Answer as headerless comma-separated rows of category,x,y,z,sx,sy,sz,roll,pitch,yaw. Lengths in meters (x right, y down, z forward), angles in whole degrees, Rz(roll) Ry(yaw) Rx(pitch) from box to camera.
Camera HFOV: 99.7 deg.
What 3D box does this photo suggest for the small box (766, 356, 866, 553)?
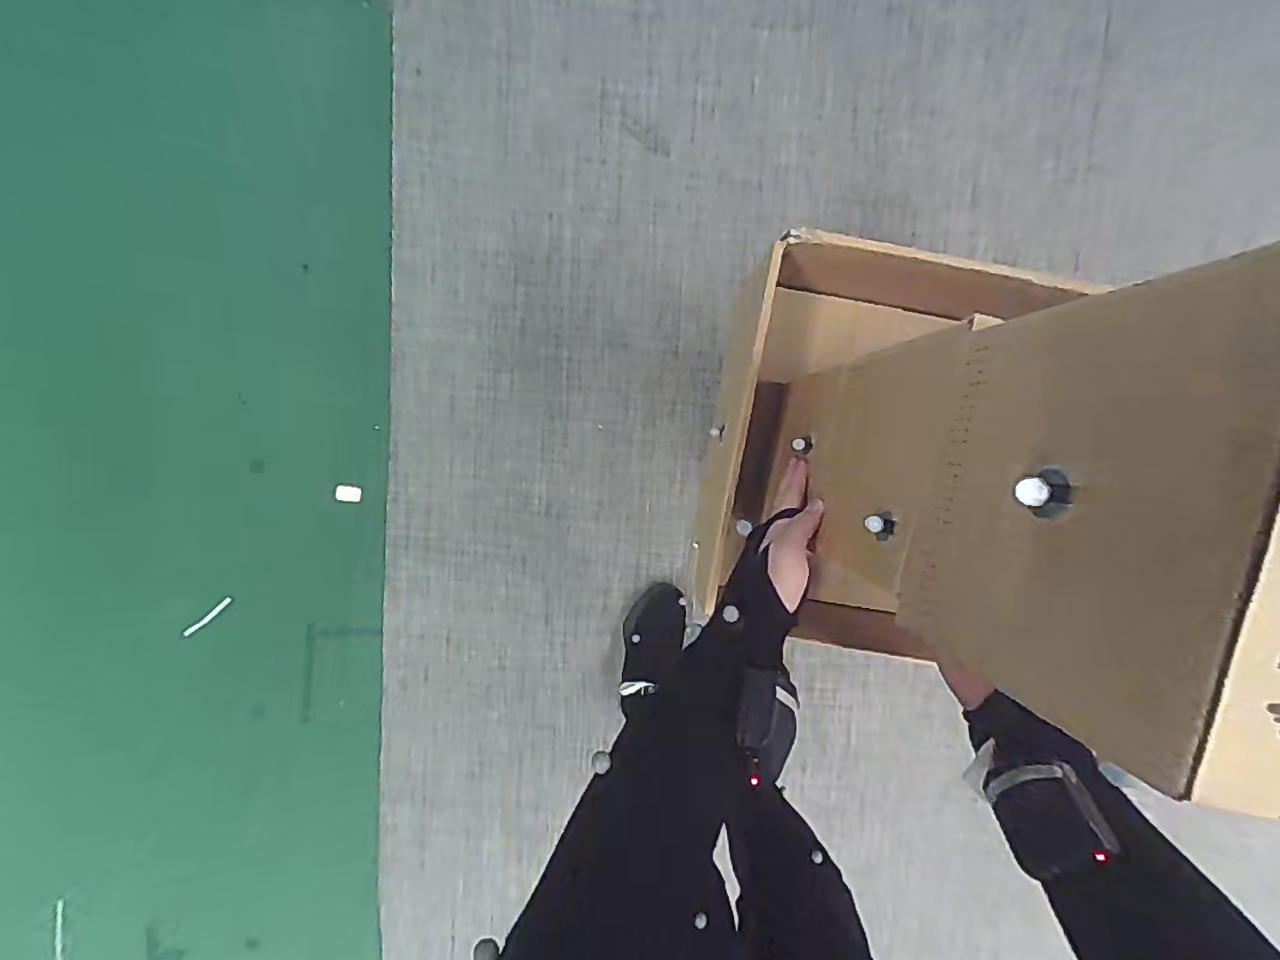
small box,0.244,-0.012,0.560,0.168,0.176,0.179,13,93,-3
